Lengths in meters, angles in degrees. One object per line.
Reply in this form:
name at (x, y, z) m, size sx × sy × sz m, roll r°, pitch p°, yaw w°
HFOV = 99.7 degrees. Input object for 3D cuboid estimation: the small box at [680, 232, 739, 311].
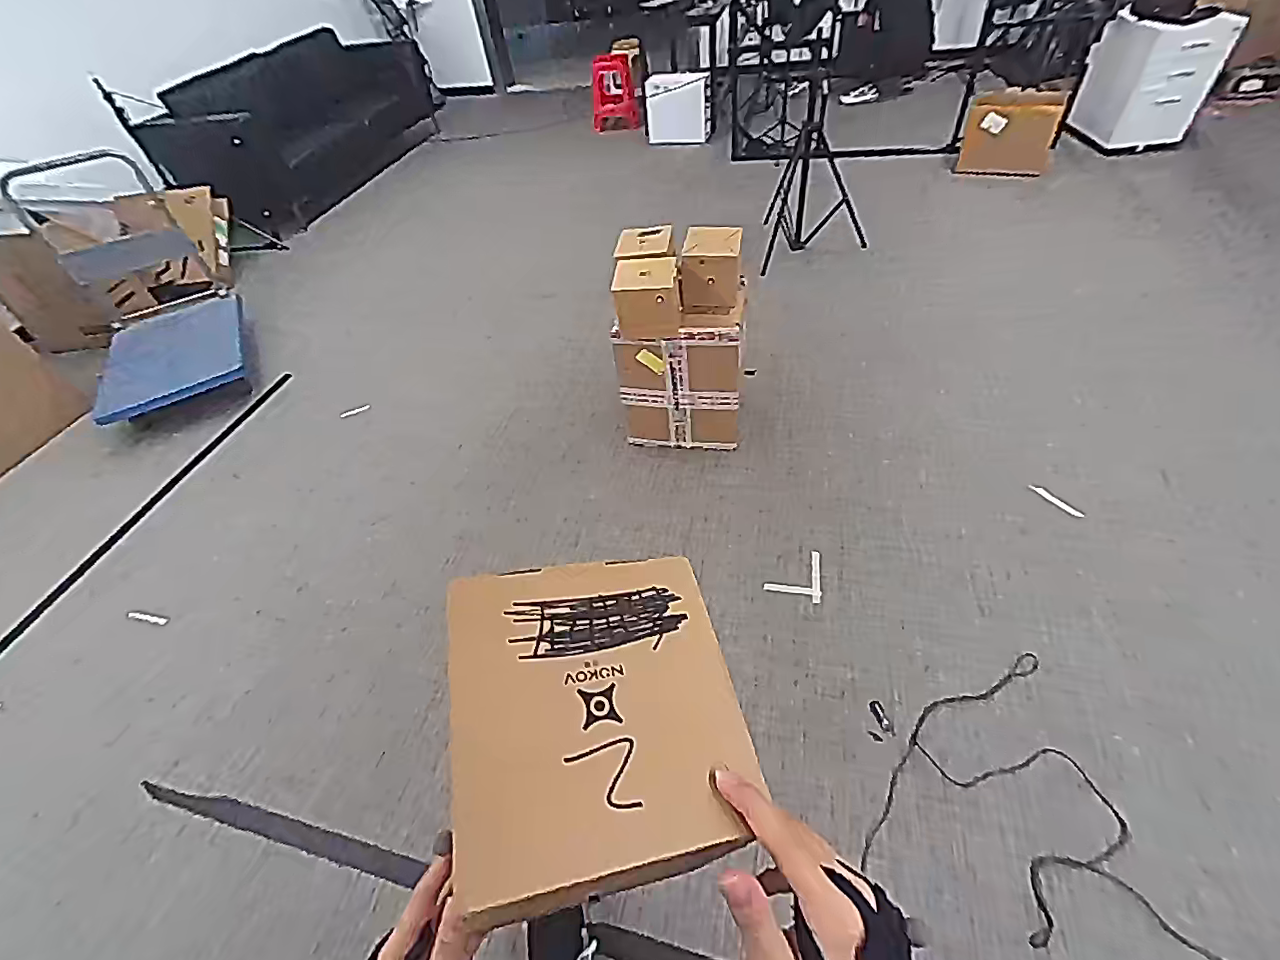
small box at (0.214, -0.644, 1.664) m, size 0.168 × 0.176 × 0.179 m, roll 6°, pitch 50°, yaw 10°

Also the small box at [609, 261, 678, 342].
small box at (0.016, -0.521, 1.595) m, size 0.179 × 0.176 × 0.168 m, roll 0°, pitch 51°, yaw 8°
